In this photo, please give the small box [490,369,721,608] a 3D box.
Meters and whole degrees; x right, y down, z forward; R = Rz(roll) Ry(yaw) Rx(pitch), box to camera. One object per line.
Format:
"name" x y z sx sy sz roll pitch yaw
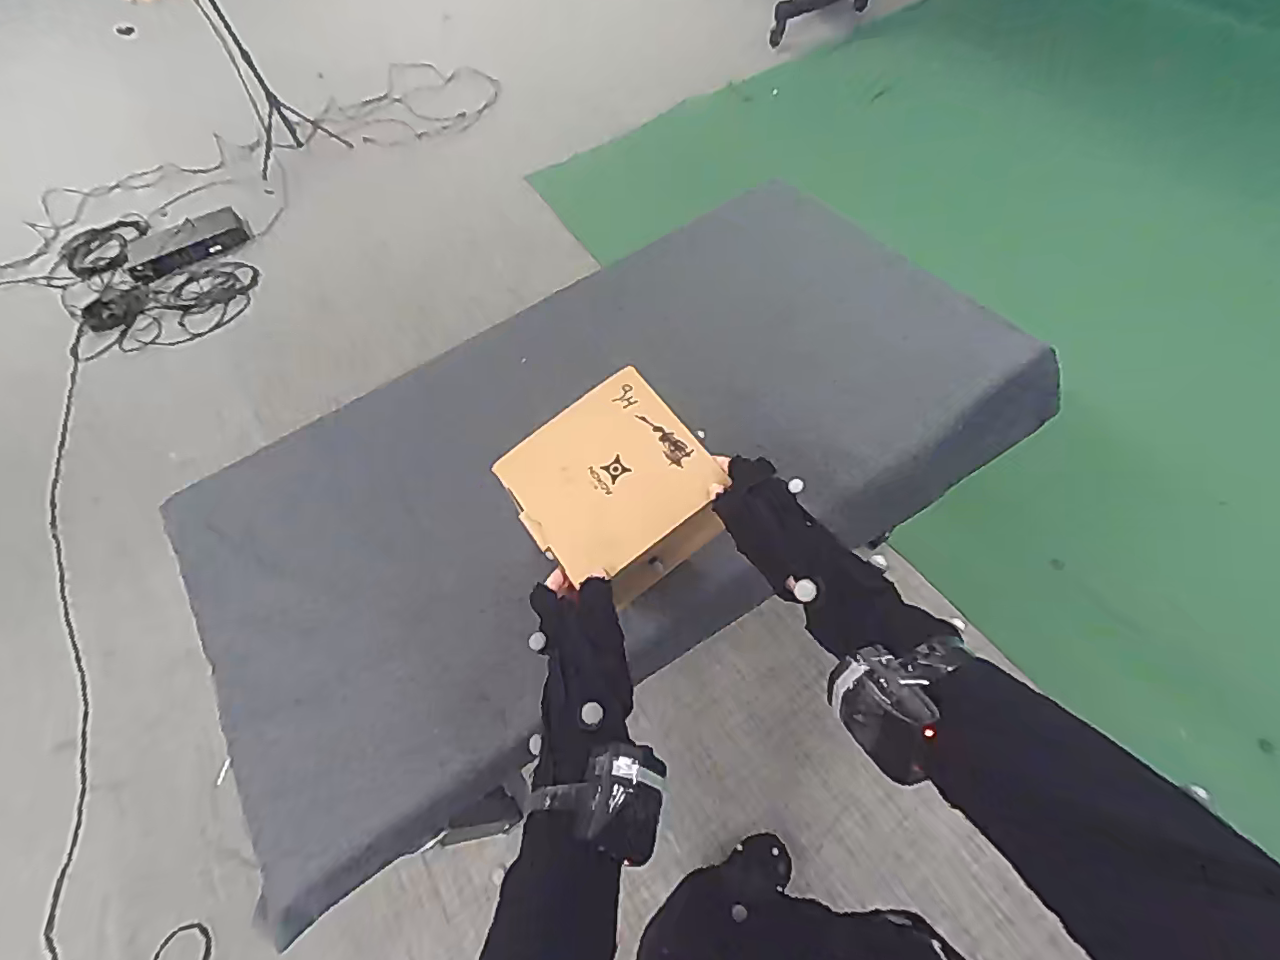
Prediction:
"small box" -0.024 0.022 0.590 0.179 0.176 0.168 -37 70 -4
